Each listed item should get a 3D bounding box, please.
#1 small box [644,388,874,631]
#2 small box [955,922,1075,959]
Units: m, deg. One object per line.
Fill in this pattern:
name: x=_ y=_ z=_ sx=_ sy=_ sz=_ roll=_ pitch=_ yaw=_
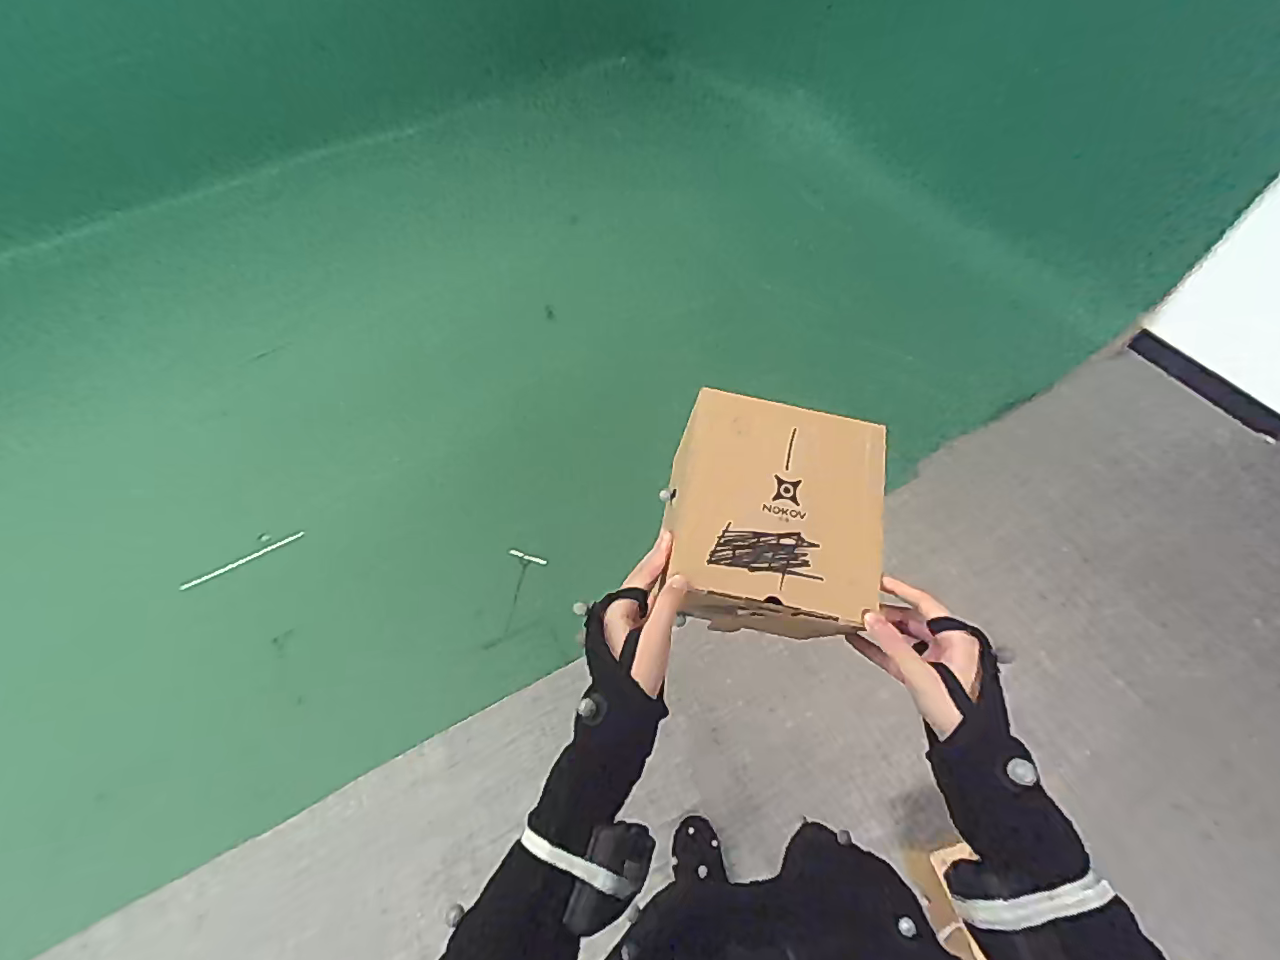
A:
small box: x=0.101 y=0.041 z=0.515 sx=0.168 sy=0.176 sz=0.179 roll=11 pitch=70 yaw=-2
small box: x=0.713 y=0.952 z=0.982 sx=0.179 sy=0.176 sz=0.168 roll=-26 pitch=61 yaw=-9
